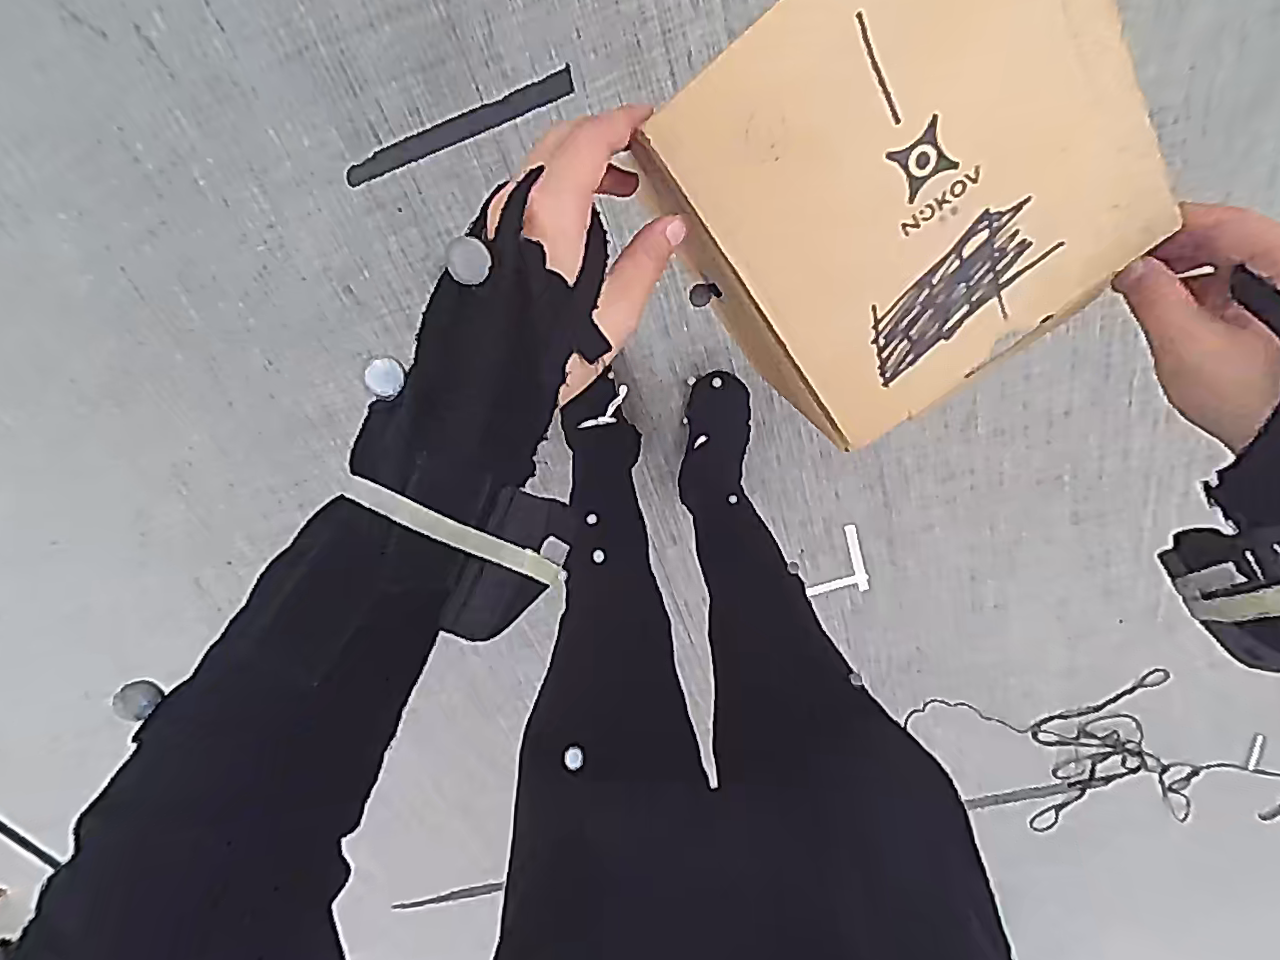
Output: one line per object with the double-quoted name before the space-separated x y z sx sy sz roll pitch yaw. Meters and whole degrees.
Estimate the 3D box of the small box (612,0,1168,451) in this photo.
"small box" 0.101 -0.152 0.284 0.168 0.176 0.179 -37 112 11
